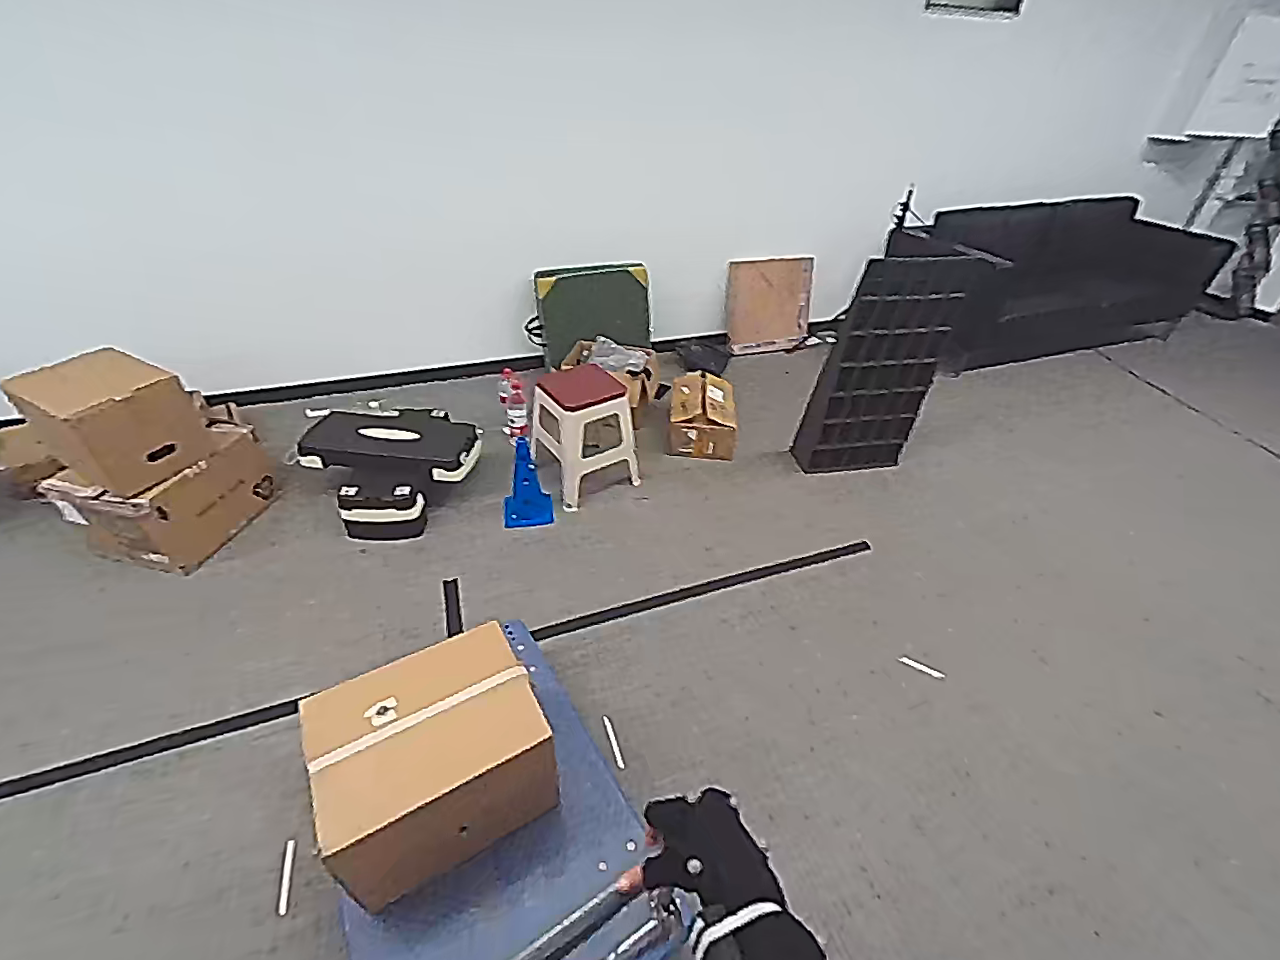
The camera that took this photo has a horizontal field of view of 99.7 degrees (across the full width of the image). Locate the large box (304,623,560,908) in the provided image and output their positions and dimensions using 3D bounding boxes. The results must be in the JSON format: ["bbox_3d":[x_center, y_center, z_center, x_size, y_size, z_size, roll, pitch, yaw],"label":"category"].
[{"bbox_3d":[-0.417,0.583,1.140,0.408,0.320,0.320,-19,43,-25],"label":"large box"}]
